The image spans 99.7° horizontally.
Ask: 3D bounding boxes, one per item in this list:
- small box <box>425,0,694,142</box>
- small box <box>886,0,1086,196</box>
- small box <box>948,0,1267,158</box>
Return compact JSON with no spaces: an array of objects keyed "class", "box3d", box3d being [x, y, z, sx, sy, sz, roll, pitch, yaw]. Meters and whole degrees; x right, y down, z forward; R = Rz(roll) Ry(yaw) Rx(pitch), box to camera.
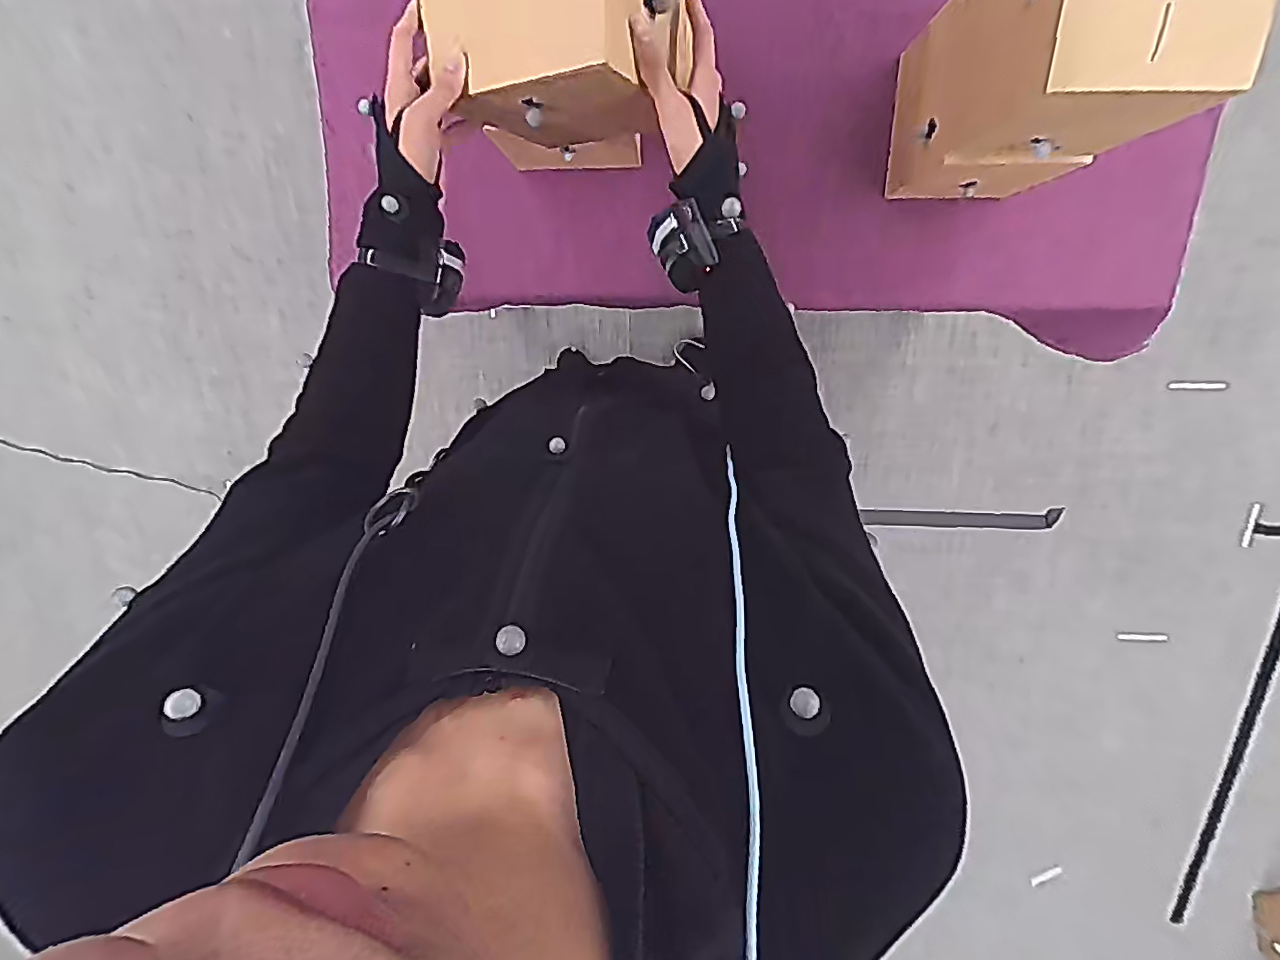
[{"class":"small box","box3d":[-0.059,-0.407,0.460,0.179,0.176,0.168,9,112,28]},{"class":"small box","box3d":[0.424,-0.461,0.665,0.168,0.176,0.179,1,106,1]},{"class":"small box","box3d":[0.420,-0.425,0.504,0.168,0.176,0.179,2,107,2]}]
